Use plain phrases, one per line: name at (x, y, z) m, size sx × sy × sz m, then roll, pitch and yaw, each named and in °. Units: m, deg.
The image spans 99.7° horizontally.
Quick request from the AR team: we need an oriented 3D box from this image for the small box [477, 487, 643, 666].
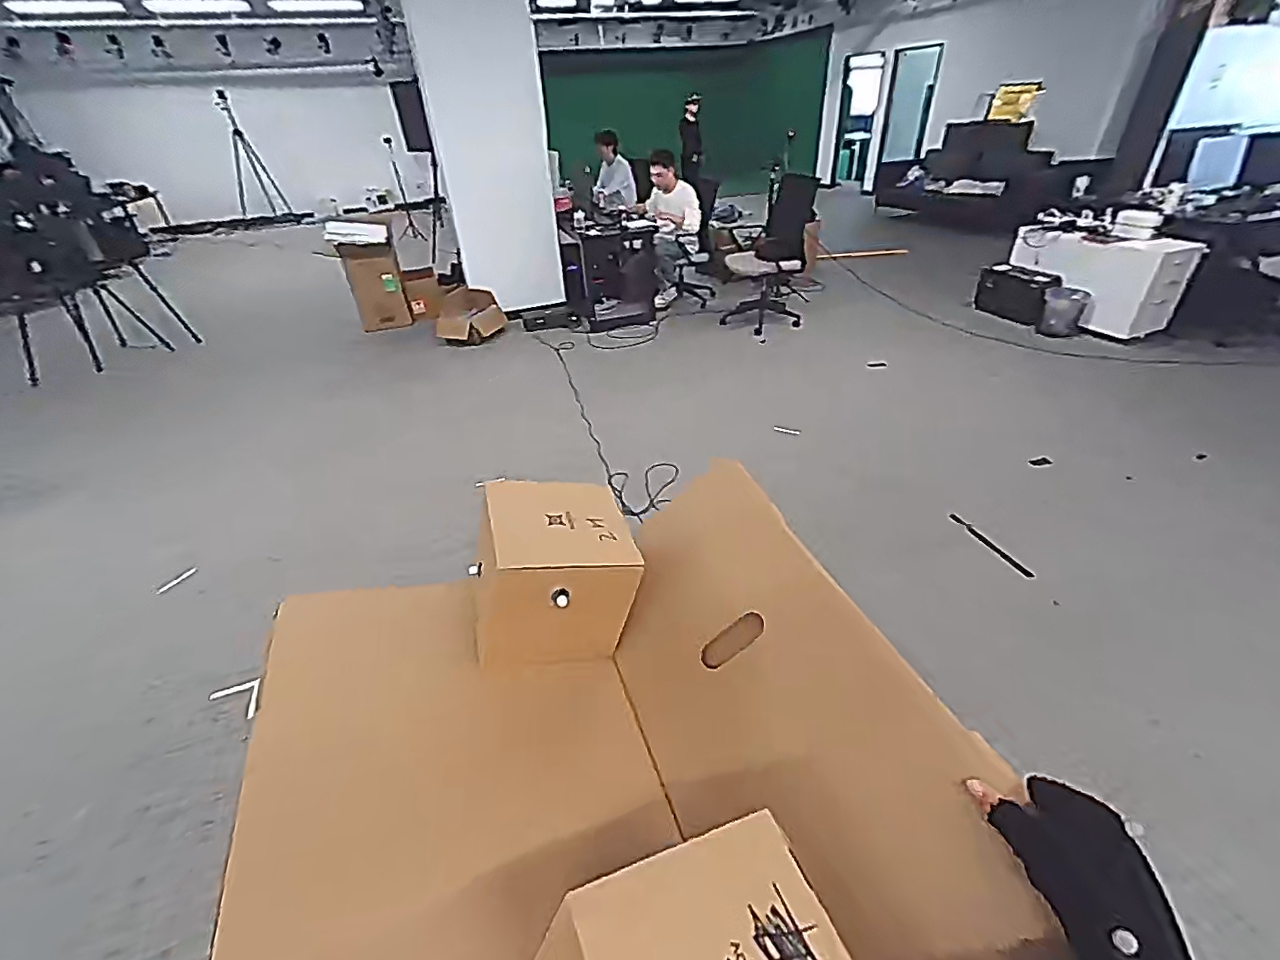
small box at (-0.118, 0.127, 0.713) m, size 0.179 × 0.176 × 0.168 m, roll 3°, pitch 34°, yaw -23°
